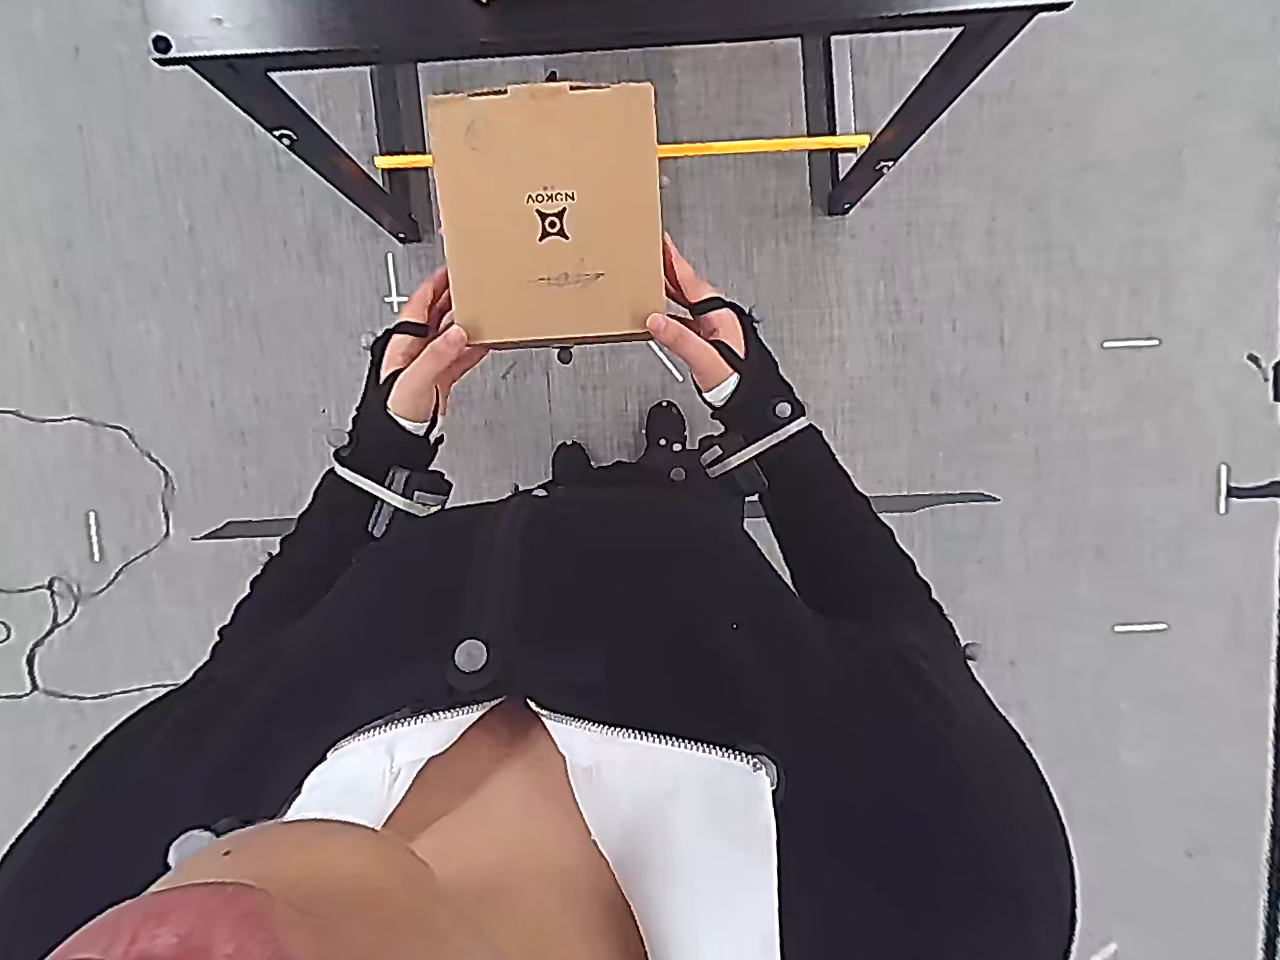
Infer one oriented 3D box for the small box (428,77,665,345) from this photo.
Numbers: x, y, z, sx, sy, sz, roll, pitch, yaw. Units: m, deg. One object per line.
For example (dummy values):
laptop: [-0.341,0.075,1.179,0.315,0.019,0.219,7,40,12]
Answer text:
small box: [-0.069,-0.216,0.480,0.168,0.176,0.179,-4,103,-1]
